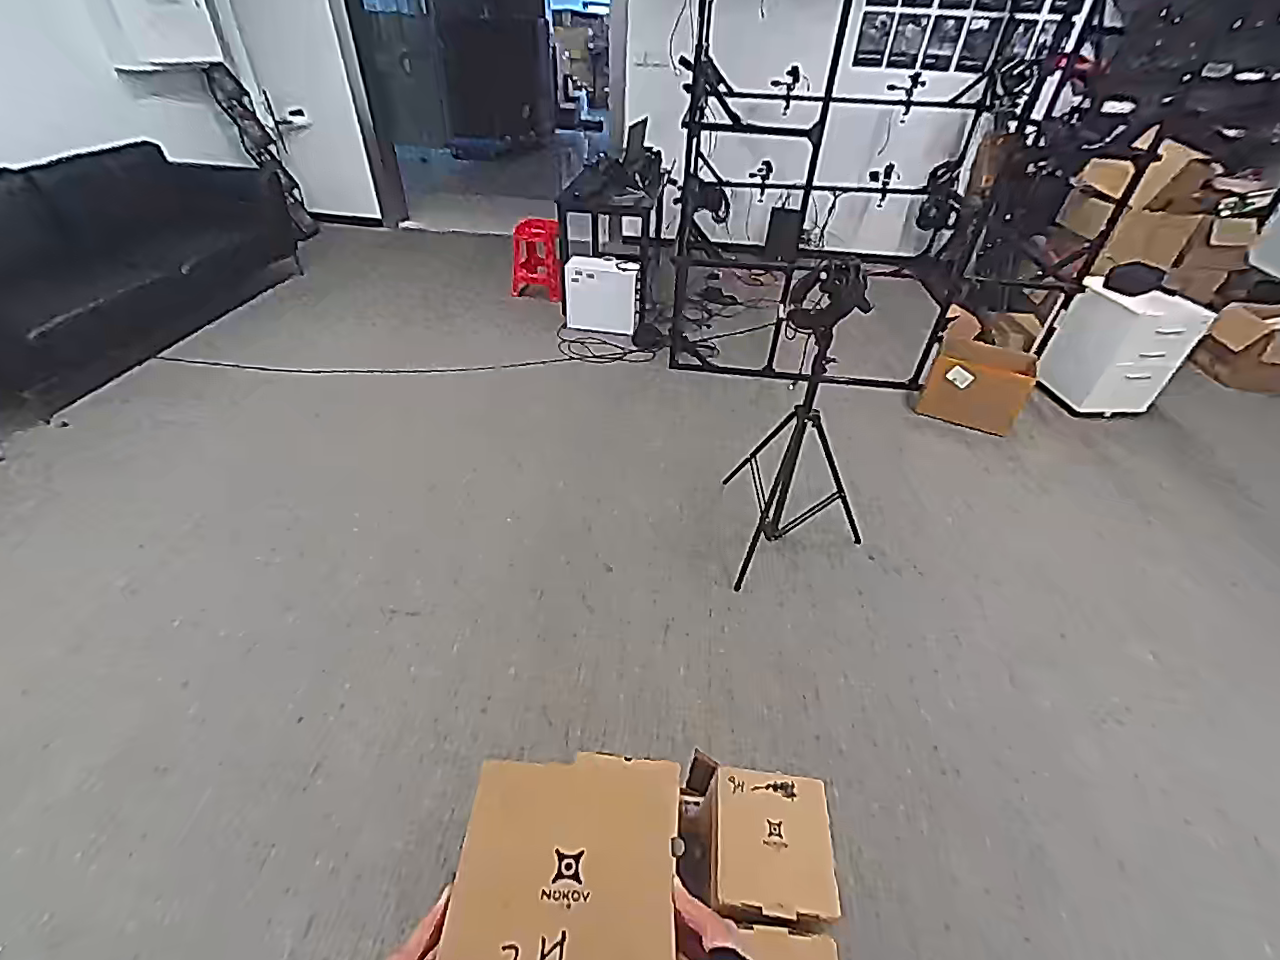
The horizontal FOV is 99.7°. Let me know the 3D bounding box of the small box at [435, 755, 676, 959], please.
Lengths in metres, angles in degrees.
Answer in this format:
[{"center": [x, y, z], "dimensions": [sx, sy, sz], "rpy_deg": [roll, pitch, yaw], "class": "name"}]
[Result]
[{"center": [-0.065, 0.363, 0.451], "dimensions": [0.168, 0.176, 0.179], "rpy_deg": [5, 35, -4], "class": "small box"}]
